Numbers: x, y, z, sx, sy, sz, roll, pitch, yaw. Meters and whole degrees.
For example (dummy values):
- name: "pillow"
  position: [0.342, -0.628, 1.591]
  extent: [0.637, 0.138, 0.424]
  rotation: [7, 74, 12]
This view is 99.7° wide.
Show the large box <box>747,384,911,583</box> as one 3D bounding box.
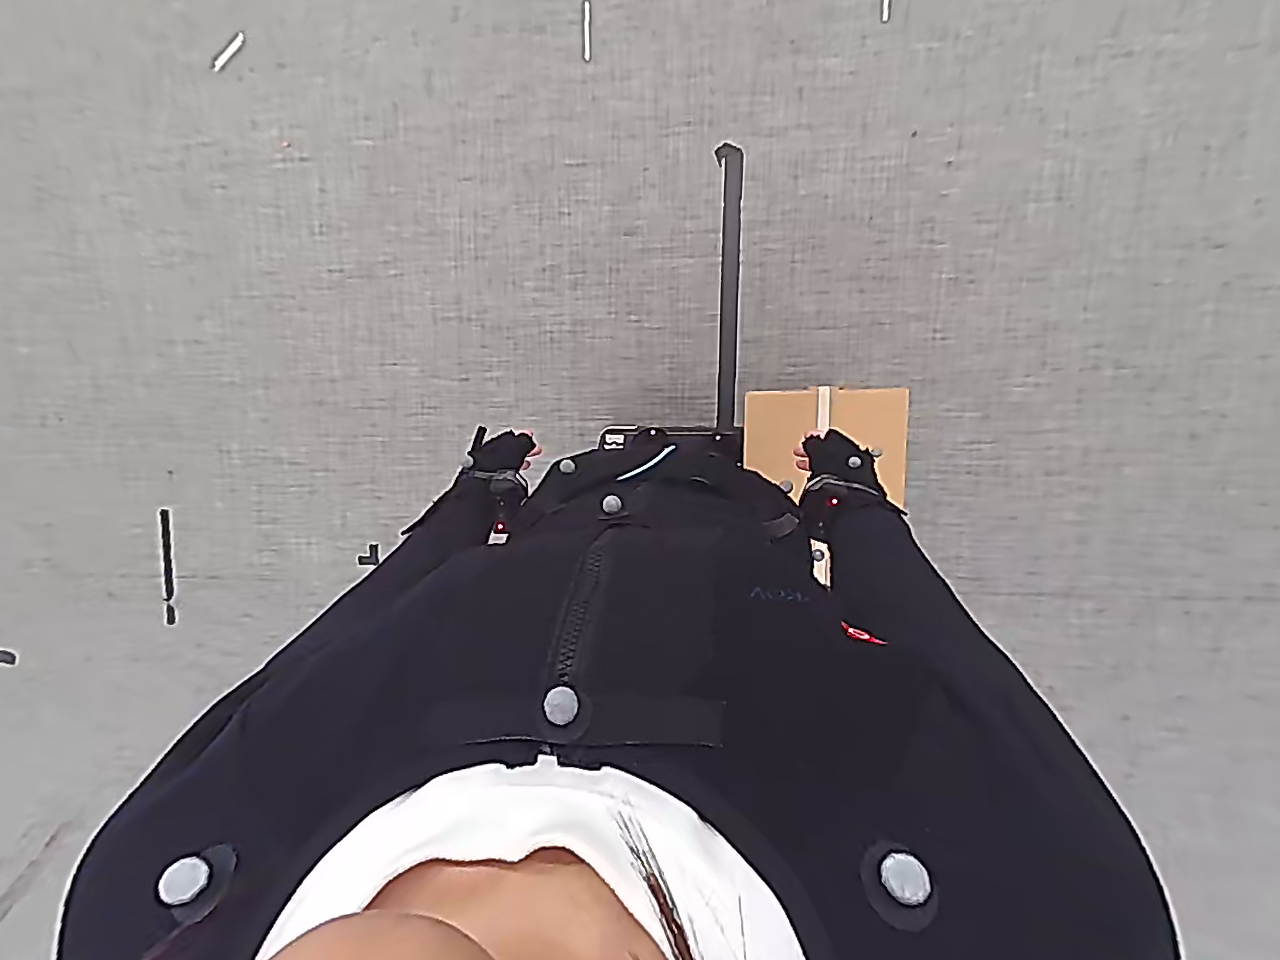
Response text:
- name: "large box"
  position: [0.408, -0.010, 1.245]
  extent: [0.320, 0.320, 0.408]
  rotation: [1, 98, 13]
